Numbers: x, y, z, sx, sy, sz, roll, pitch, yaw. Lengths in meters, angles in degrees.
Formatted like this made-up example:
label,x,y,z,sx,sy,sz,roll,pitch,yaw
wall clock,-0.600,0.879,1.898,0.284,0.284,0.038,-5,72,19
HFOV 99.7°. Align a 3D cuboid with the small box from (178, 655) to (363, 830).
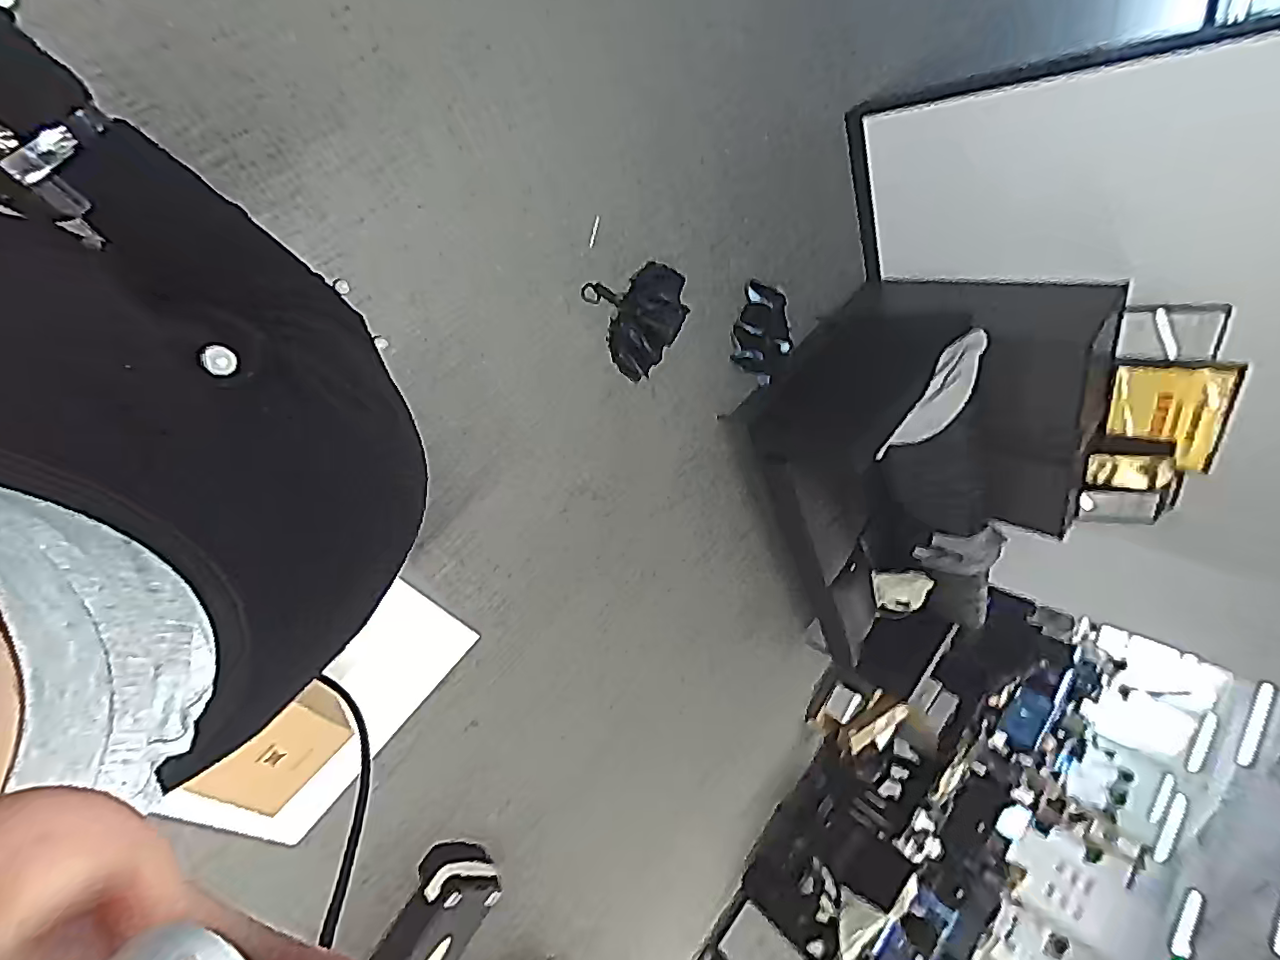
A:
label,x,y,z,sx,sy,sz,roll,pitch,yaw
small box,-0.597,0.413,0.871,0.168,0.176,0.179,-47,133,-18
